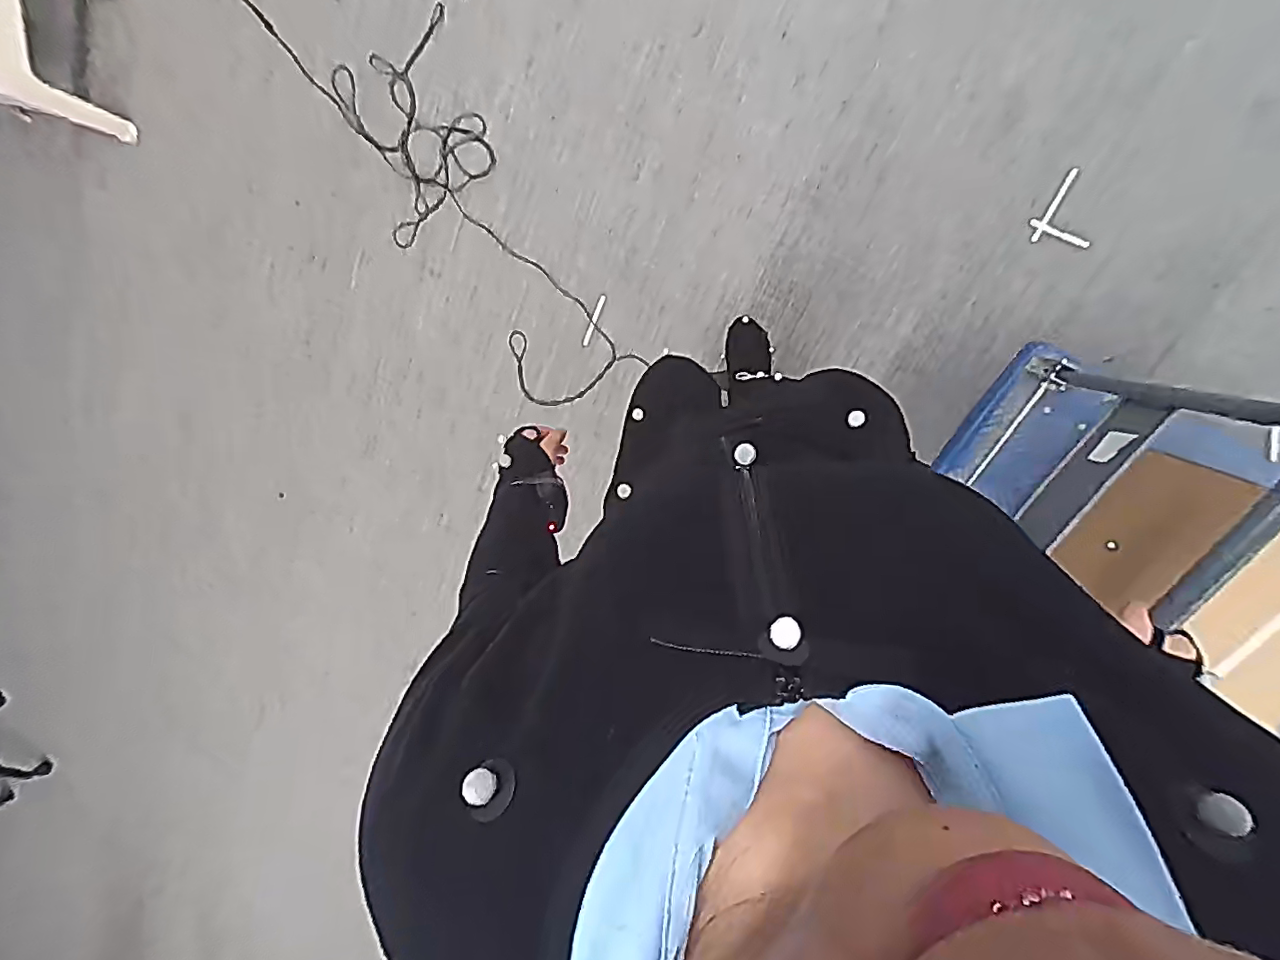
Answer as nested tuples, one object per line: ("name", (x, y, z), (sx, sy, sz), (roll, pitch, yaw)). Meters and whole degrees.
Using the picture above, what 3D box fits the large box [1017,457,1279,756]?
("large box", (1.066, 0.224, 1.055), (0.320, 0.320, 0.408), (31, 108, 0))
